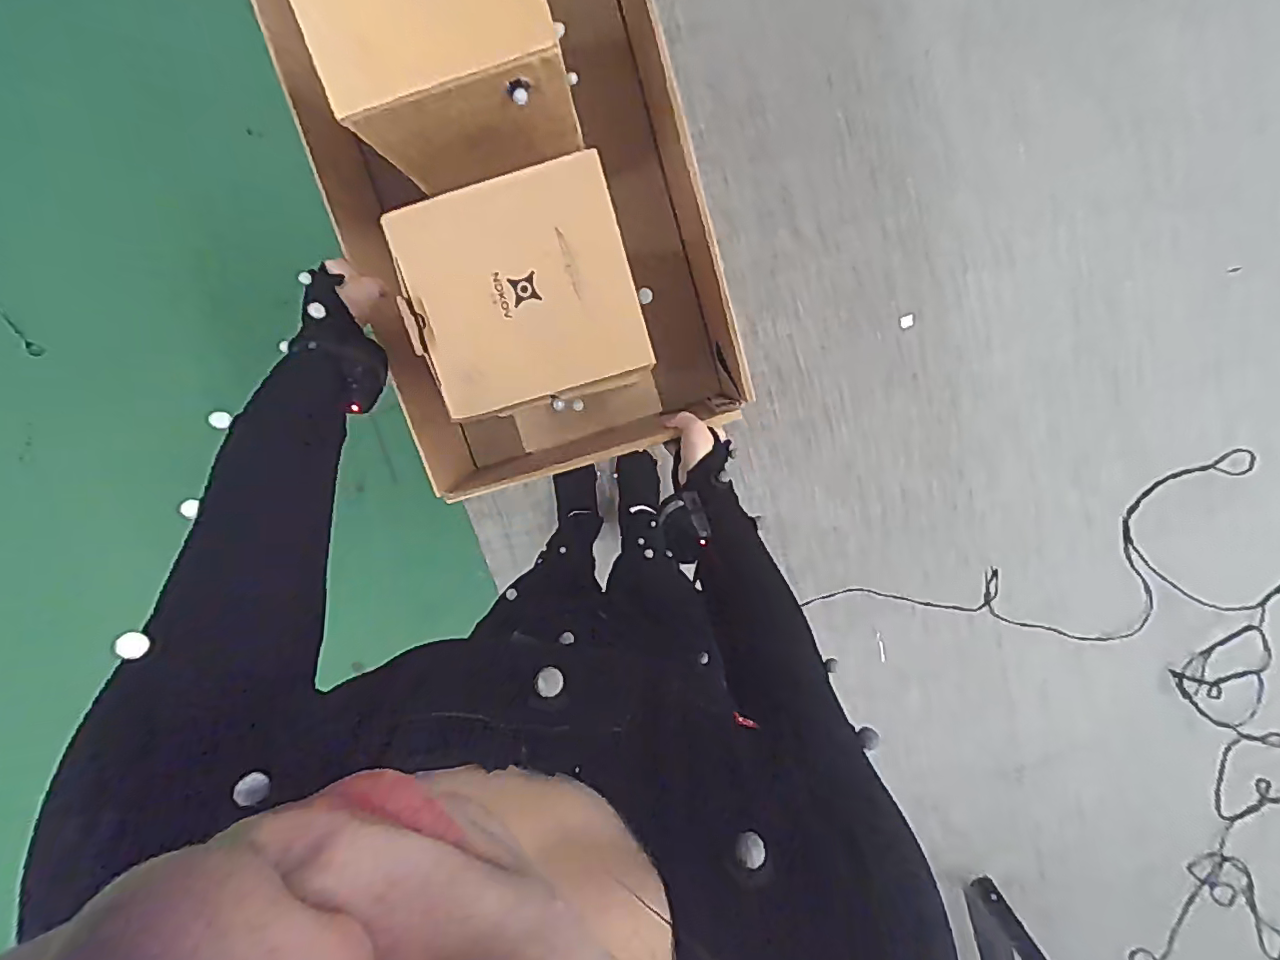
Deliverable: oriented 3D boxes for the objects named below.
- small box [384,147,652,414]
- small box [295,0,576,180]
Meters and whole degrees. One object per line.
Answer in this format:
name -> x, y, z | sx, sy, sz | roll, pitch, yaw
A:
small box -> -0.093, -0.166, 0.501 | 0.179, 0.176, 0.168 | -16, 101, 2
small box -> -0.165, -0.385, 0.458 | 0.179, 0.176, 0.168 | -17, 102, 2
